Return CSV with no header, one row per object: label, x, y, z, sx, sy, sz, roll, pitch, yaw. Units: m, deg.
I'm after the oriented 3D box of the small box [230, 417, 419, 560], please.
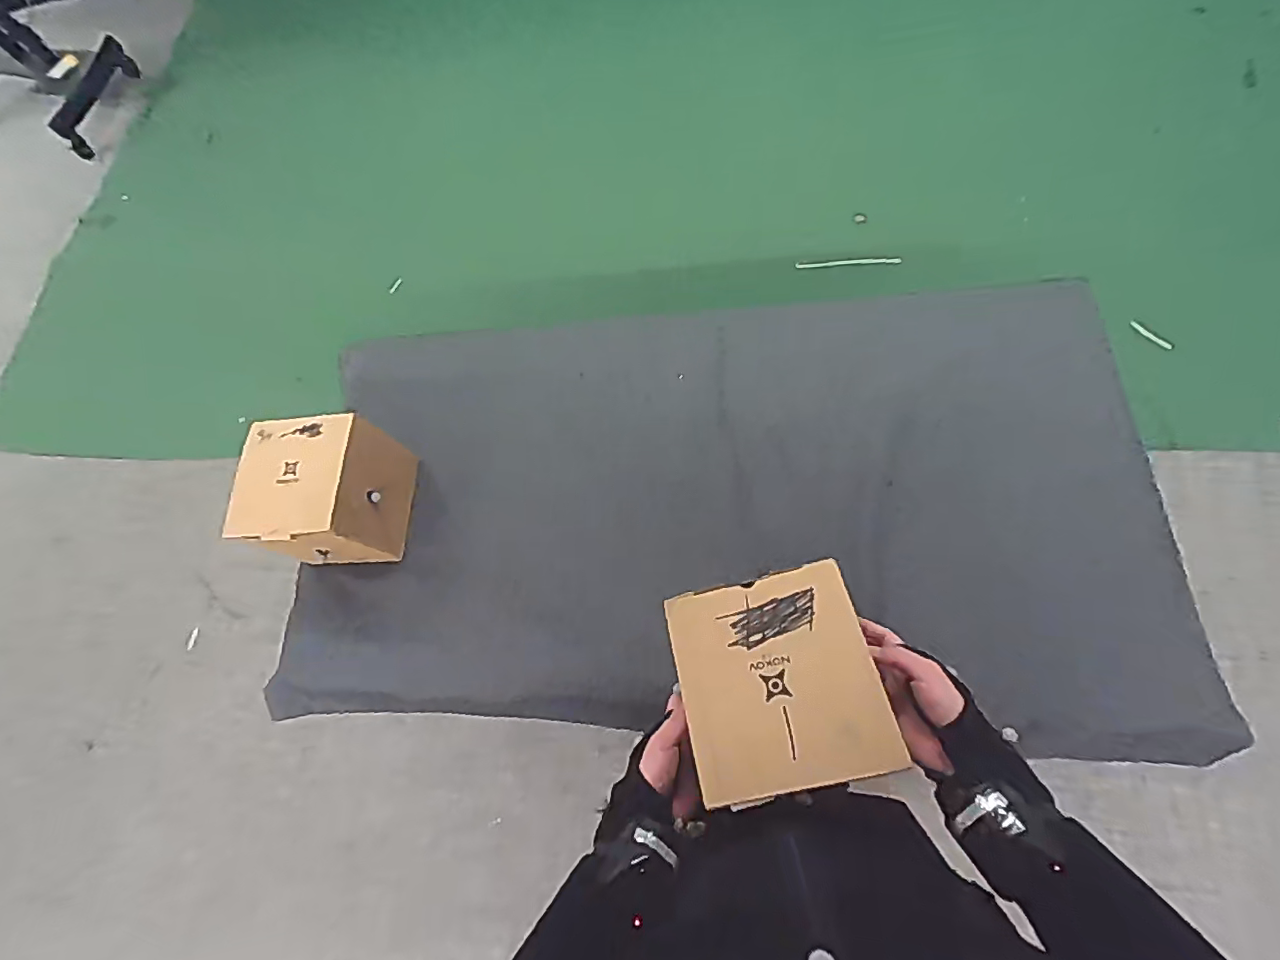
small box,-0.456,0.023,0.812,0.168,0.176,0.179,-3,70,8
